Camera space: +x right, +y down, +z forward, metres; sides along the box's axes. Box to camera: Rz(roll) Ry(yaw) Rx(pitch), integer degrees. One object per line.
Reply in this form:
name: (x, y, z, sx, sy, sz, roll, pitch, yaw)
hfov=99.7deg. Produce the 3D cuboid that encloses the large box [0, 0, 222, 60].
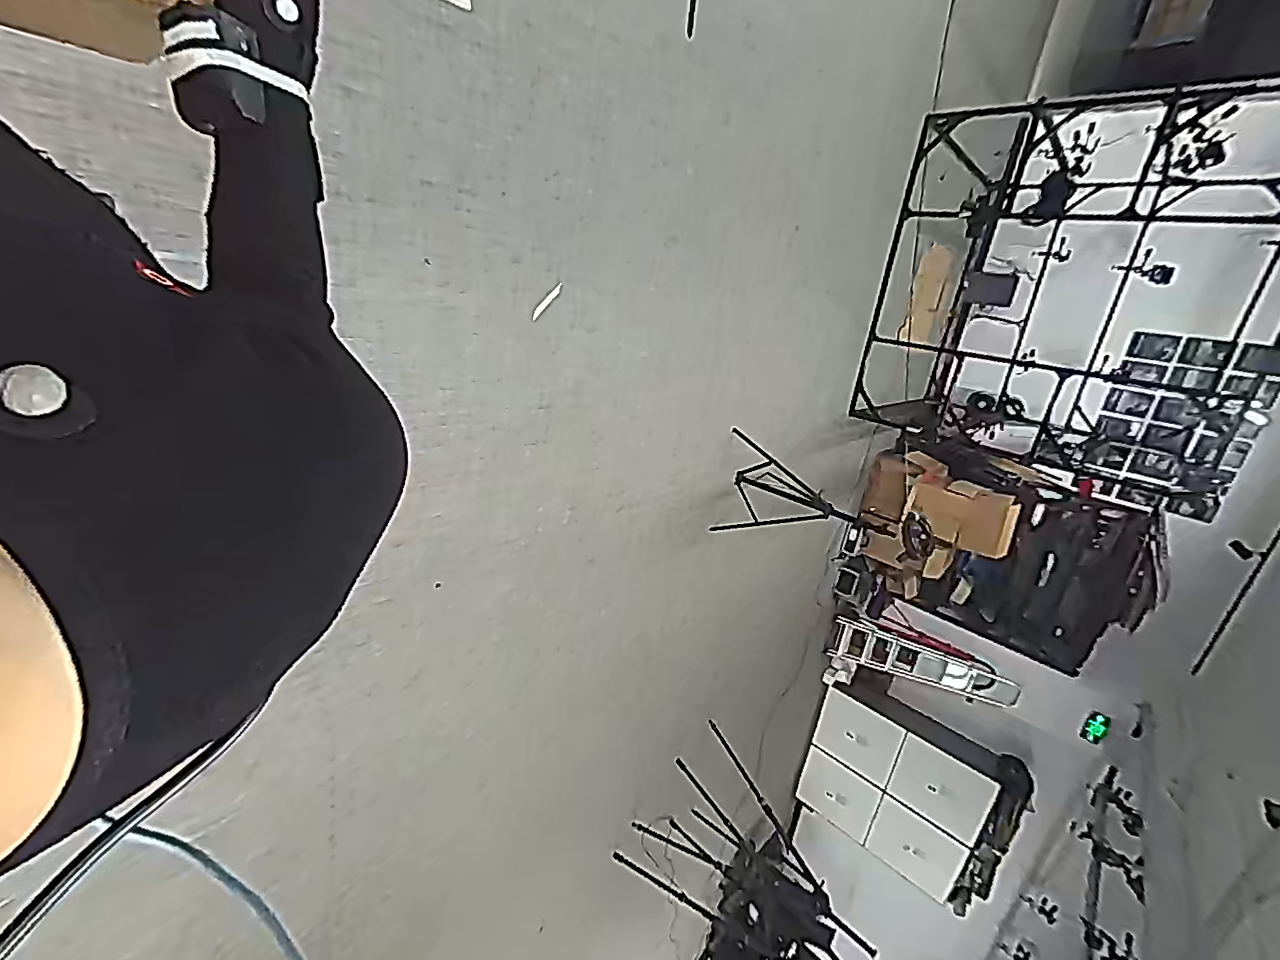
large box: (-0.525, -0.486, 0.282, 0.408, 0.320, 0.320, -16, 123, -46)
